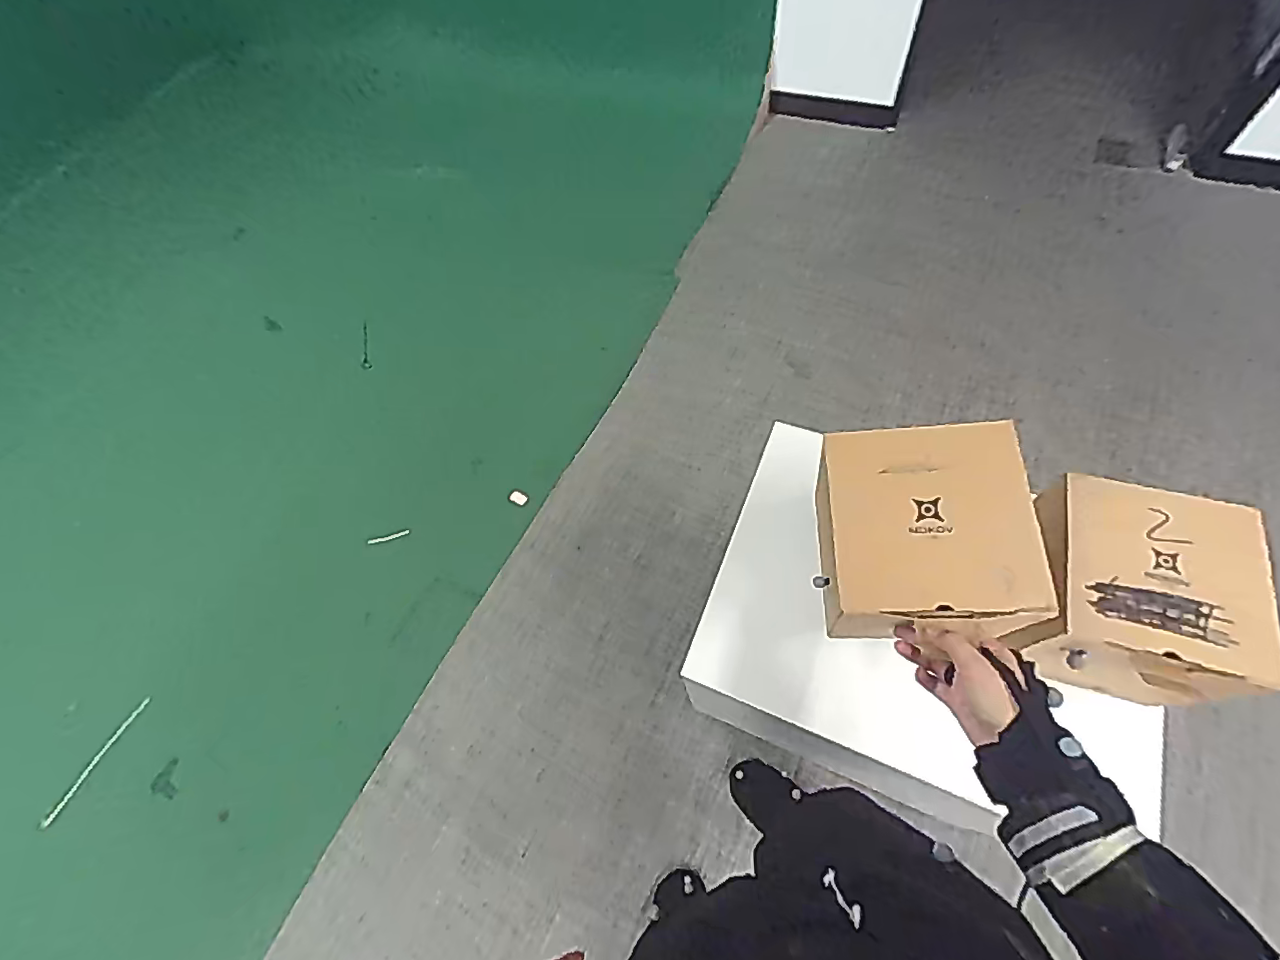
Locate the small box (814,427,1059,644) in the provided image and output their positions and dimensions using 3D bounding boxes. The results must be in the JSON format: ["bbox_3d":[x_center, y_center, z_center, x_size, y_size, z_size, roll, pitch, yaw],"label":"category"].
[{"bbox_3d":[0.272,0.068,0.544,0.168,0.176,0.179,-4,65,12],"label":"small box"}]
